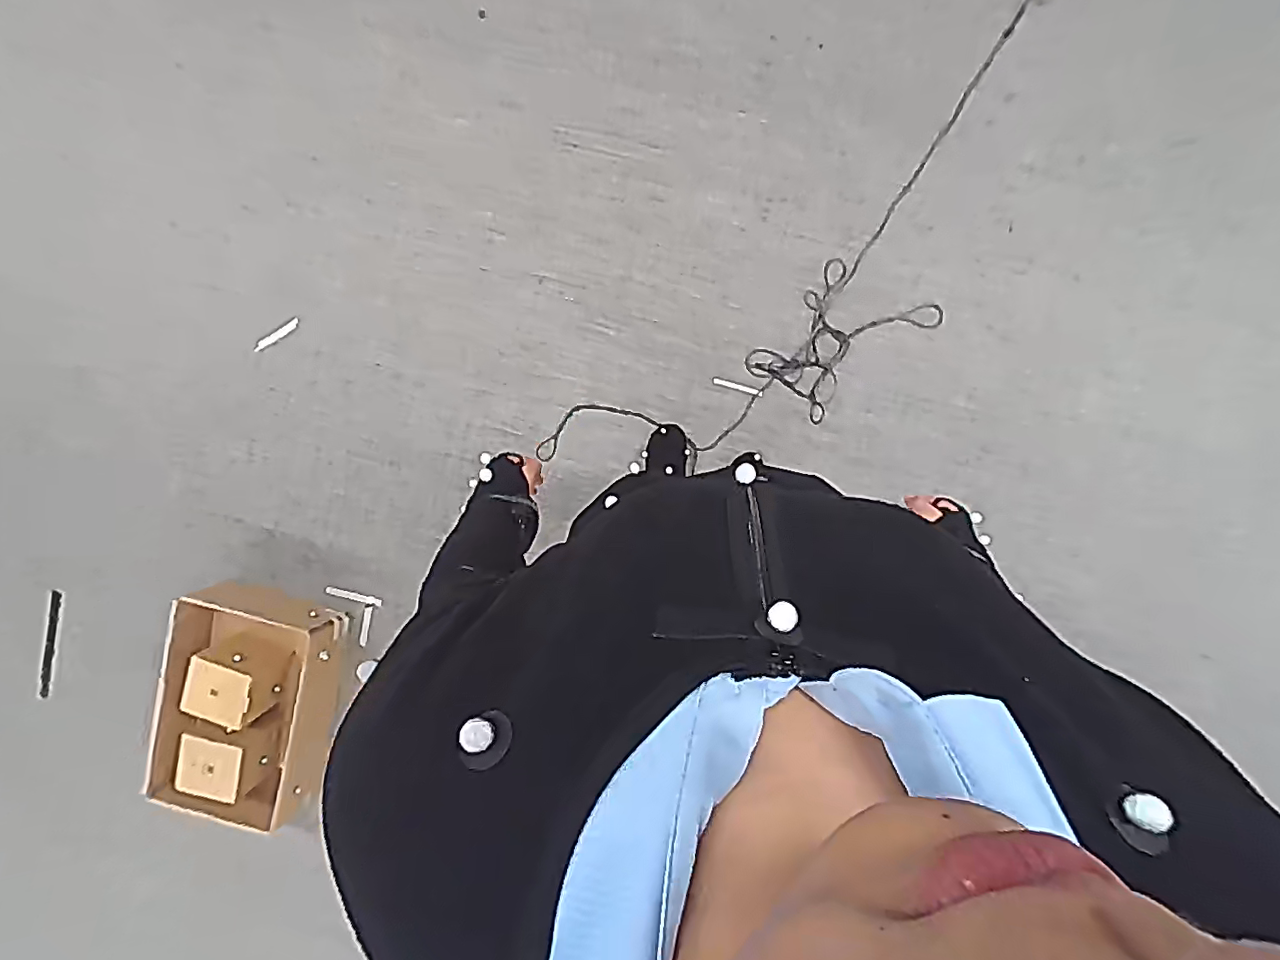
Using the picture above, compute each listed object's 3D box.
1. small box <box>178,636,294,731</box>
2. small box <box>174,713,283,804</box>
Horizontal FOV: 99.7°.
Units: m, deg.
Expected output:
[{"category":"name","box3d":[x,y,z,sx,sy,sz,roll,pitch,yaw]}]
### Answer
[{"category":"small box","box3d":[-1.129,0.561,1.521,0.179,0.176,0.168,20,97,2]},{"category":"small box","box3d":[-1.164,0.775,1.541,0.179,0.176,0.168,13,94,3]}]
